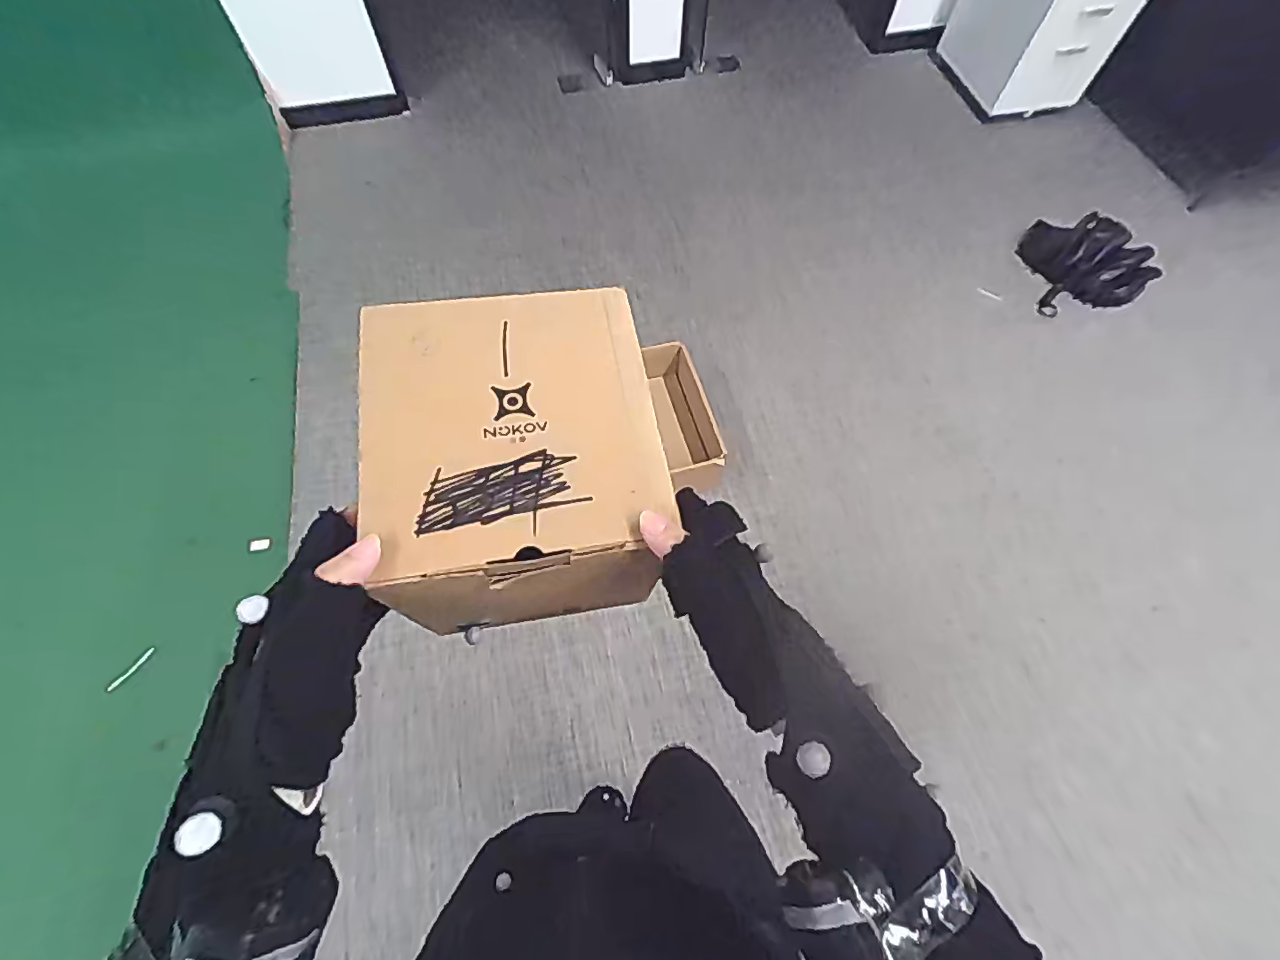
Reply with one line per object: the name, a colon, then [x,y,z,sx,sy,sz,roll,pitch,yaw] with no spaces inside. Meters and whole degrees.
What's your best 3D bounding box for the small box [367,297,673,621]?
small box: [-0.081,-0.003,0.392,0.168,0.176,0.179,-7,66,-10]
